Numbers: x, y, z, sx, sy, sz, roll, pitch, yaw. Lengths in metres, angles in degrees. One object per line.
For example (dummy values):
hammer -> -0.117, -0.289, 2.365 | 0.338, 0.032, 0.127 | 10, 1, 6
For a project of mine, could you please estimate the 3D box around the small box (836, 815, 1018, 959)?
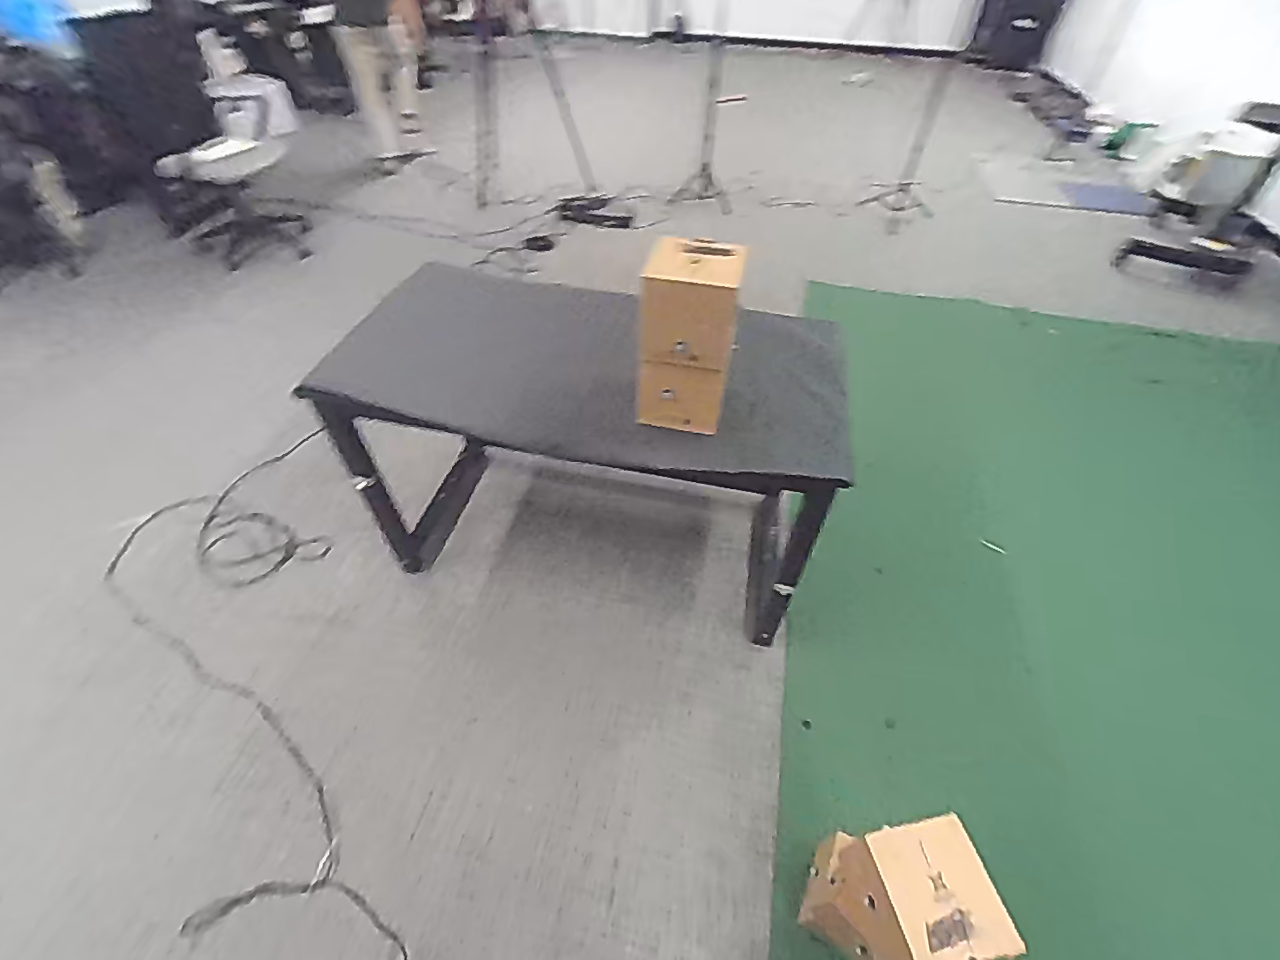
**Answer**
small box -> 0.442, 0.666, 0.866 | 0.168, 0.176, 0.179 | -7, 47, -7

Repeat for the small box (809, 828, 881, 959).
small box -> 0.436, 0.783, 0.982 | 0.168, 0.176, 0.179 | -32, 57, -25

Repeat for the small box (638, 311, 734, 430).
small box -> 0.095, -0.226, 1.124 | 0.168, 0.176, 0.179 | 10, 46, 8

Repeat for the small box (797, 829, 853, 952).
small box -> 0.445, 0.871, 1.122 | 0.179, 0.176, 0.168 | 23, 51, 18
